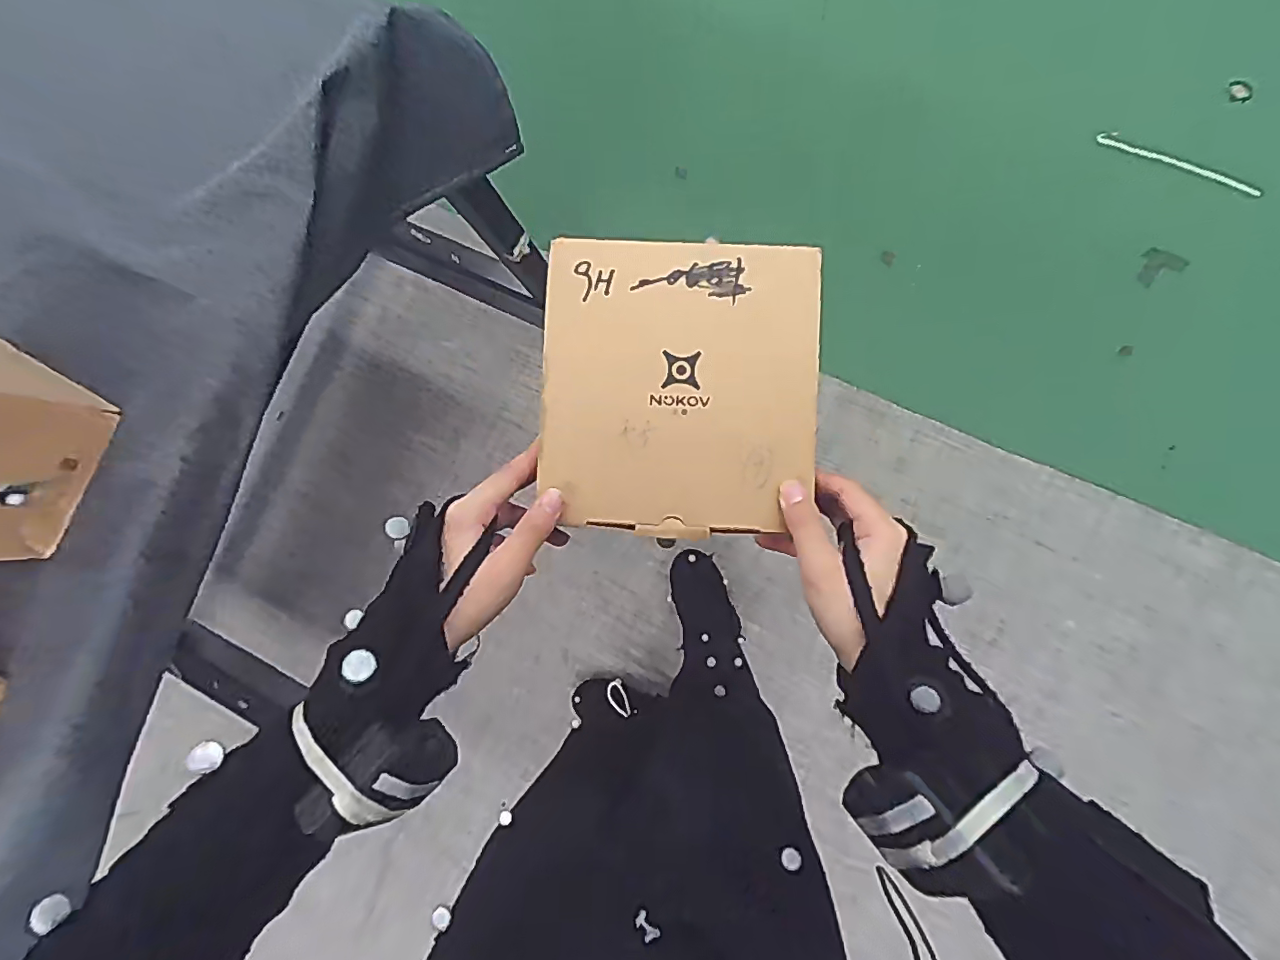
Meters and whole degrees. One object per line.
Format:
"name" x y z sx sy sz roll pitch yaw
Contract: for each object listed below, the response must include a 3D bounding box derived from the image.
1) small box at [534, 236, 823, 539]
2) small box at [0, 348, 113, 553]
"small box" 0.025 -0.054 0.400 0.168 0.176 0.179 3 88 1
"small box" -0.635 -0.037 0.465 0.179 0.176 0.168 27 90 8
